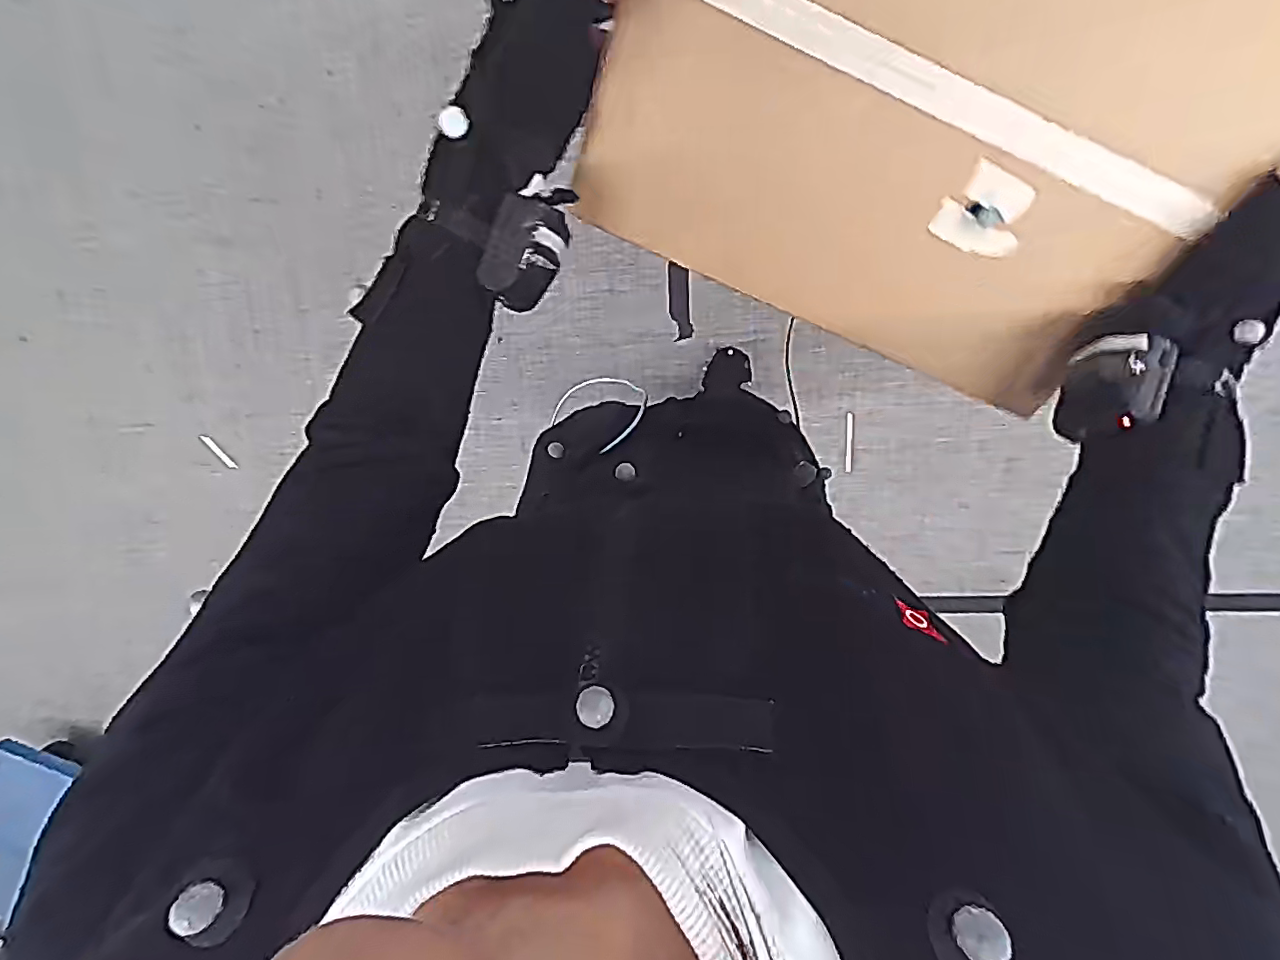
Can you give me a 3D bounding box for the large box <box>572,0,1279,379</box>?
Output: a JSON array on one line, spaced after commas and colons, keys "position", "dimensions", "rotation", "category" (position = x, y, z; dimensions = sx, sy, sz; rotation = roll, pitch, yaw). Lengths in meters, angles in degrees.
[{"position": [0.197, -0.345, 0.458], "dimensions": [0.408, 0.320, 0.320], "rotation": [20, 127, -5], "category": "large box"}]
